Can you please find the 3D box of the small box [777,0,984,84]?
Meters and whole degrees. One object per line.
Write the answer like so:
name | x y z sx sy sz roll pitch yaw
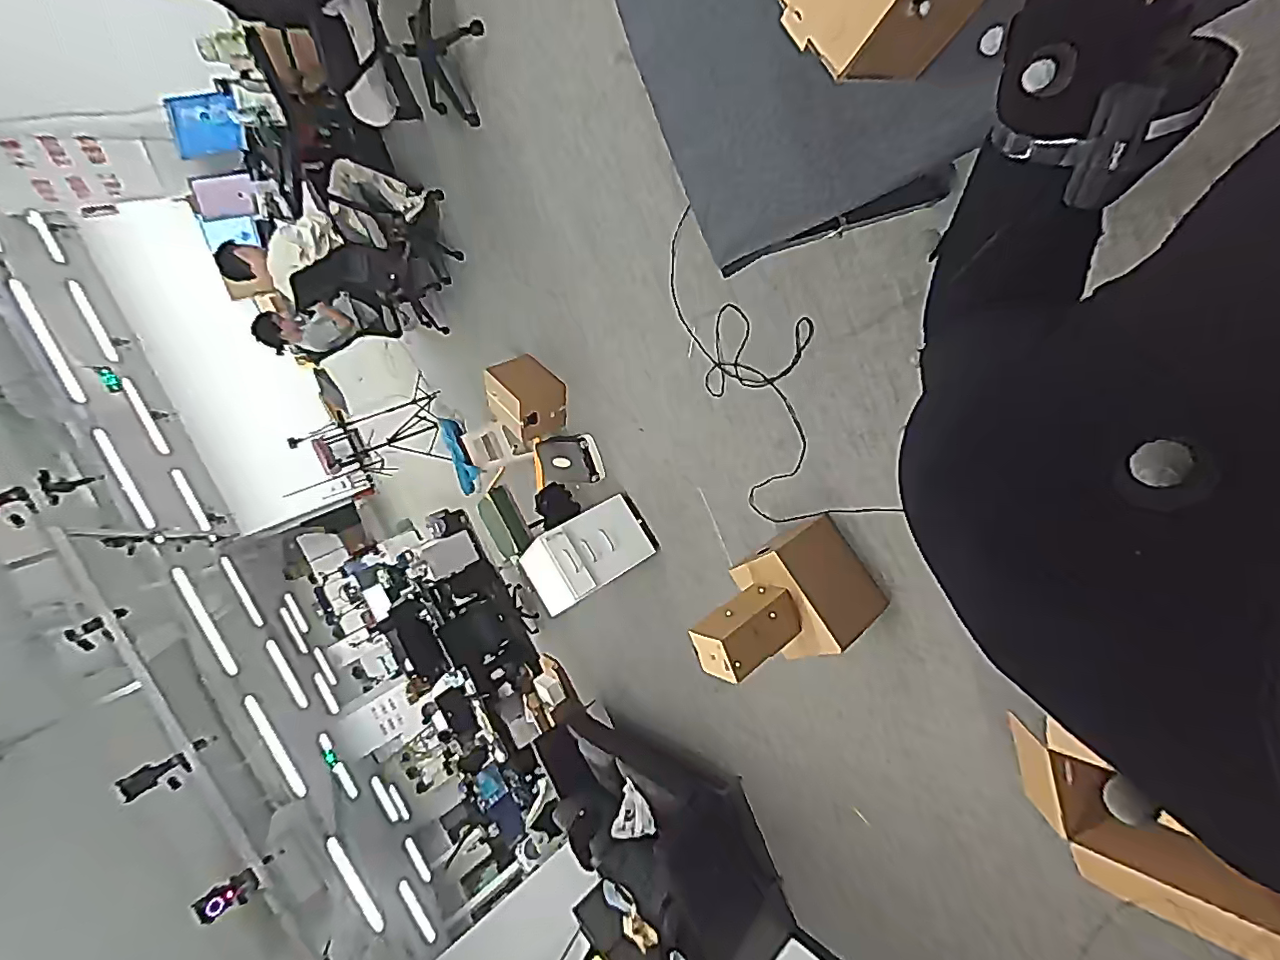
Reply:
small box | 0.268 -0.552 0.558 0.168 0.176 0.179 59 148 6

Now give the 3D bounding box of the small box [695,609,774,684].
small box | 0.323 0.558 1.840 0.179 0.176 0.168 -5 110 59
